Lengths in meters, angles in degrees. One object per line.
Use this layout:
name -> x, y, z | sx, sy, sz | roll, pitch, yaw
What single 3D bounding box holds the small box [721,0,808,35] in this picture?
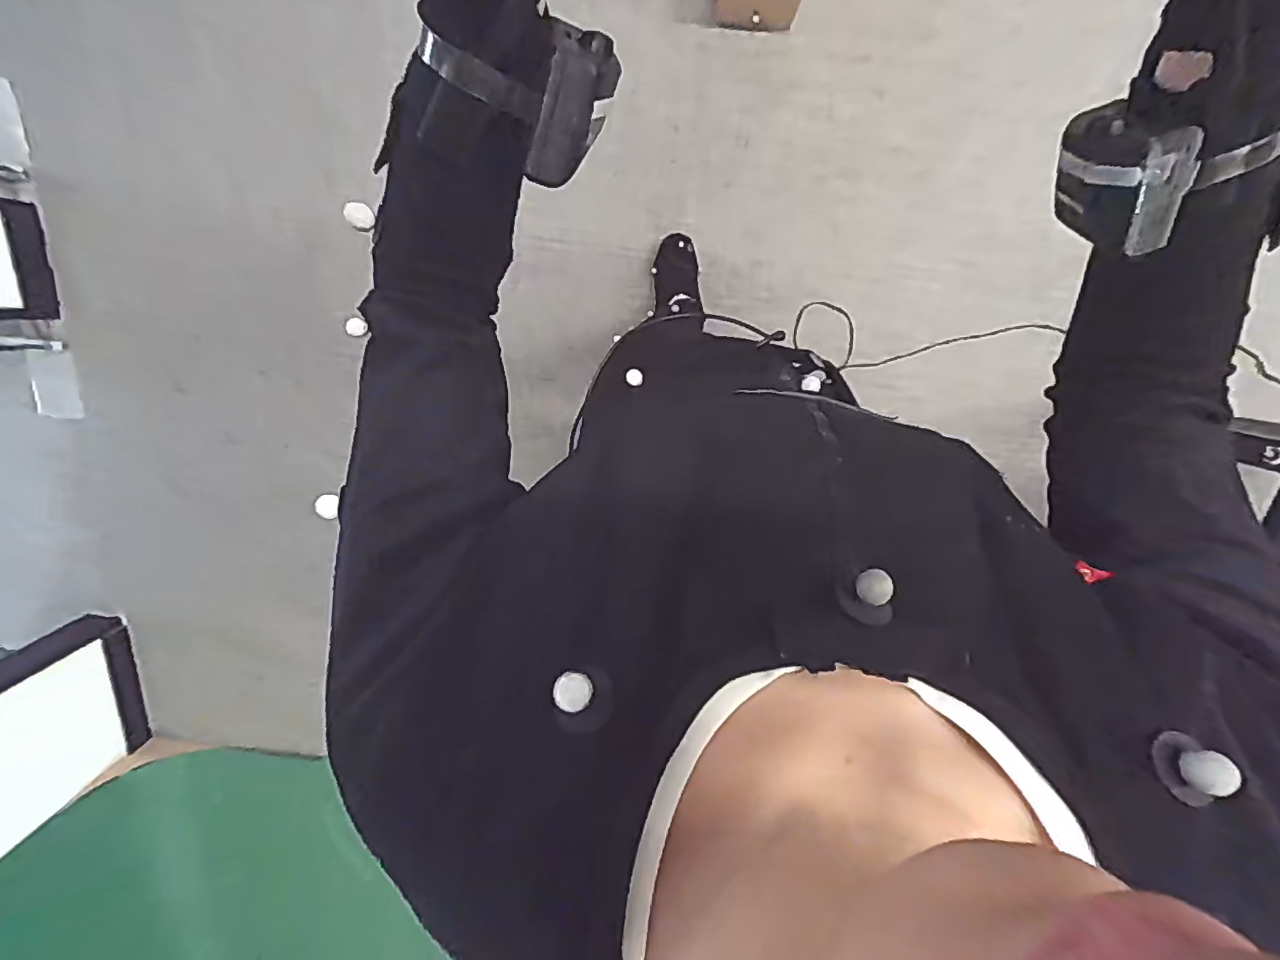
small box -> 0.258, -1.035, 1.072 | 0.168, 0.176, 0.179 | 8, 108, 2
